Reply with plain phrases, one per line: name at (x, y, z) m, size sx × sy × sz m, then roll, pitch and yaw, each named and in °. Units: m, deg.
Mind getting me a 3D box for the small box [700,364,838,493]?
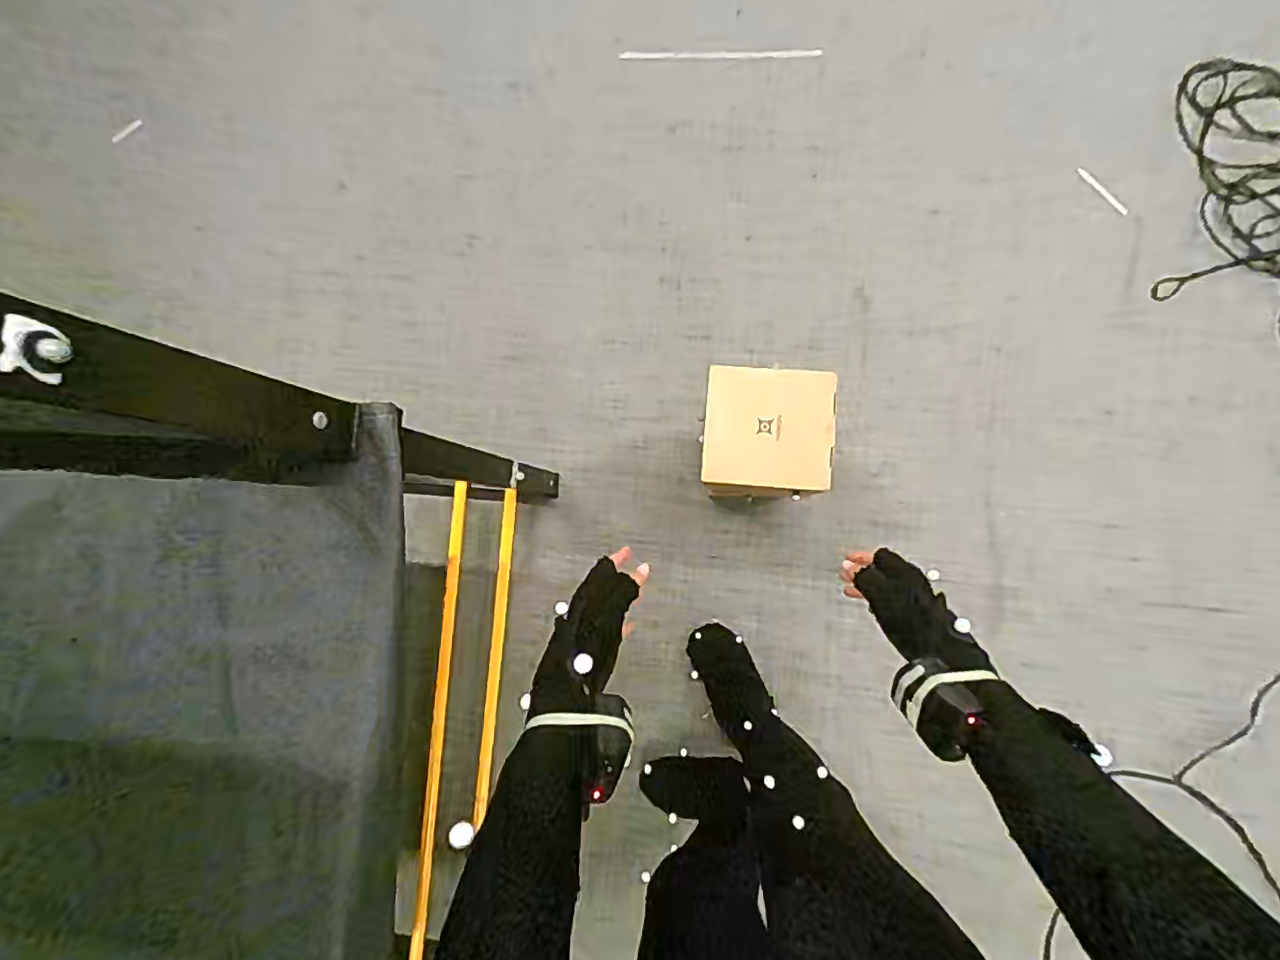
small box at (0.184, -0.069, 0.812) m, size 0.179 × 0.176 × 0.168 m, roll 4°, pitch 88°, yaw 7°
